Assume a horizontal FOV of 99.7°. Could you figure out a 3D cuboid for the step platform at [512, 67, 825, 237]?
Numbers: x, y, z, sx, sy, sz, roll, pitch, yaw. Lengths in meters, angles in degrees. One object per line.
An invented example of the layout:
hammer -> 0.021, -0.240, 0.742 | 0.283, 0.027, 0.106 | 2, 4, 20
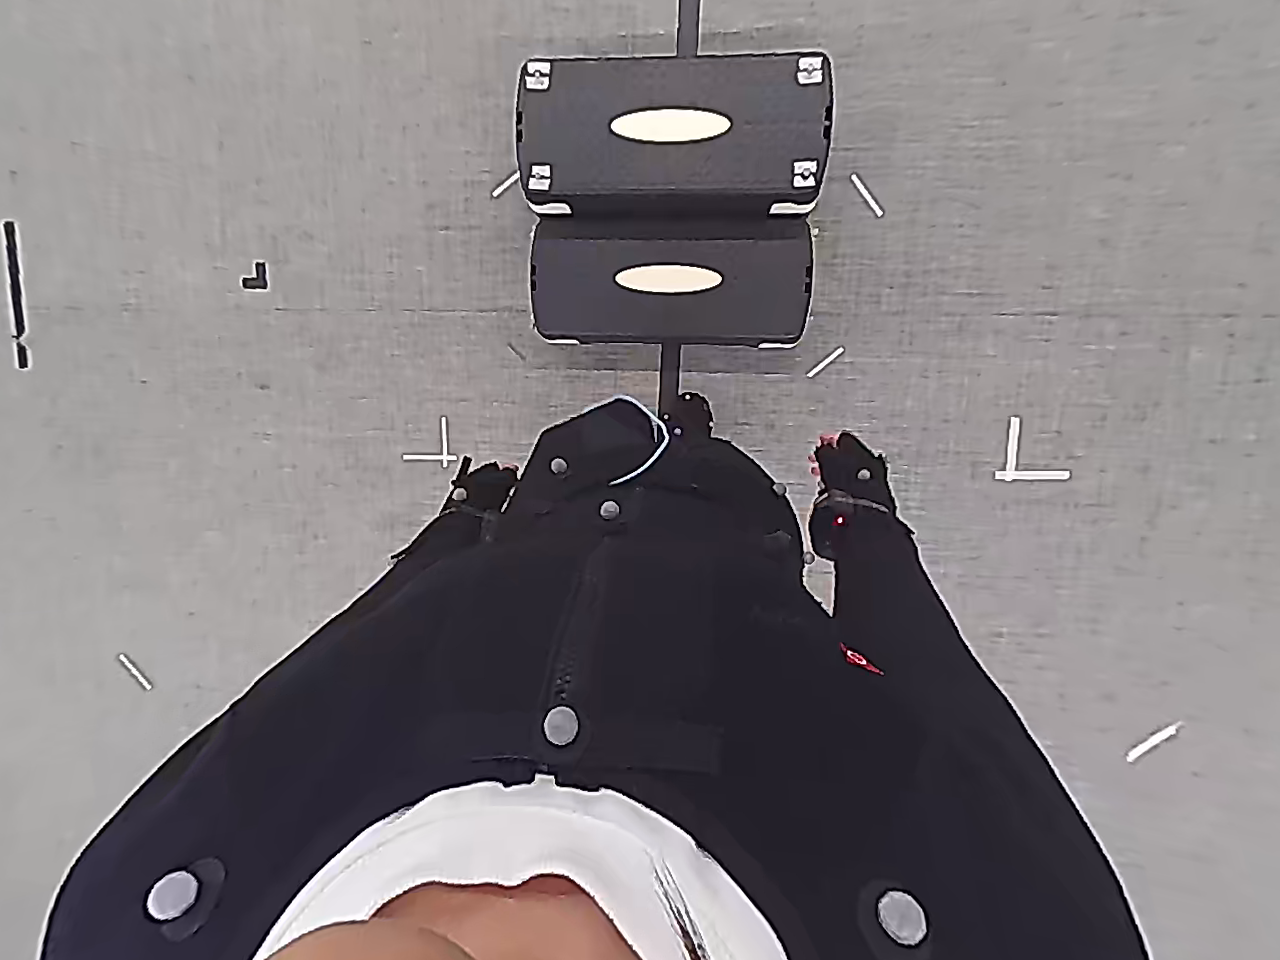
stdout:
step platform -> 0.059, -0.730, 1.226 | 0.684, 0.204, 0.286 | 1, 99, 4
